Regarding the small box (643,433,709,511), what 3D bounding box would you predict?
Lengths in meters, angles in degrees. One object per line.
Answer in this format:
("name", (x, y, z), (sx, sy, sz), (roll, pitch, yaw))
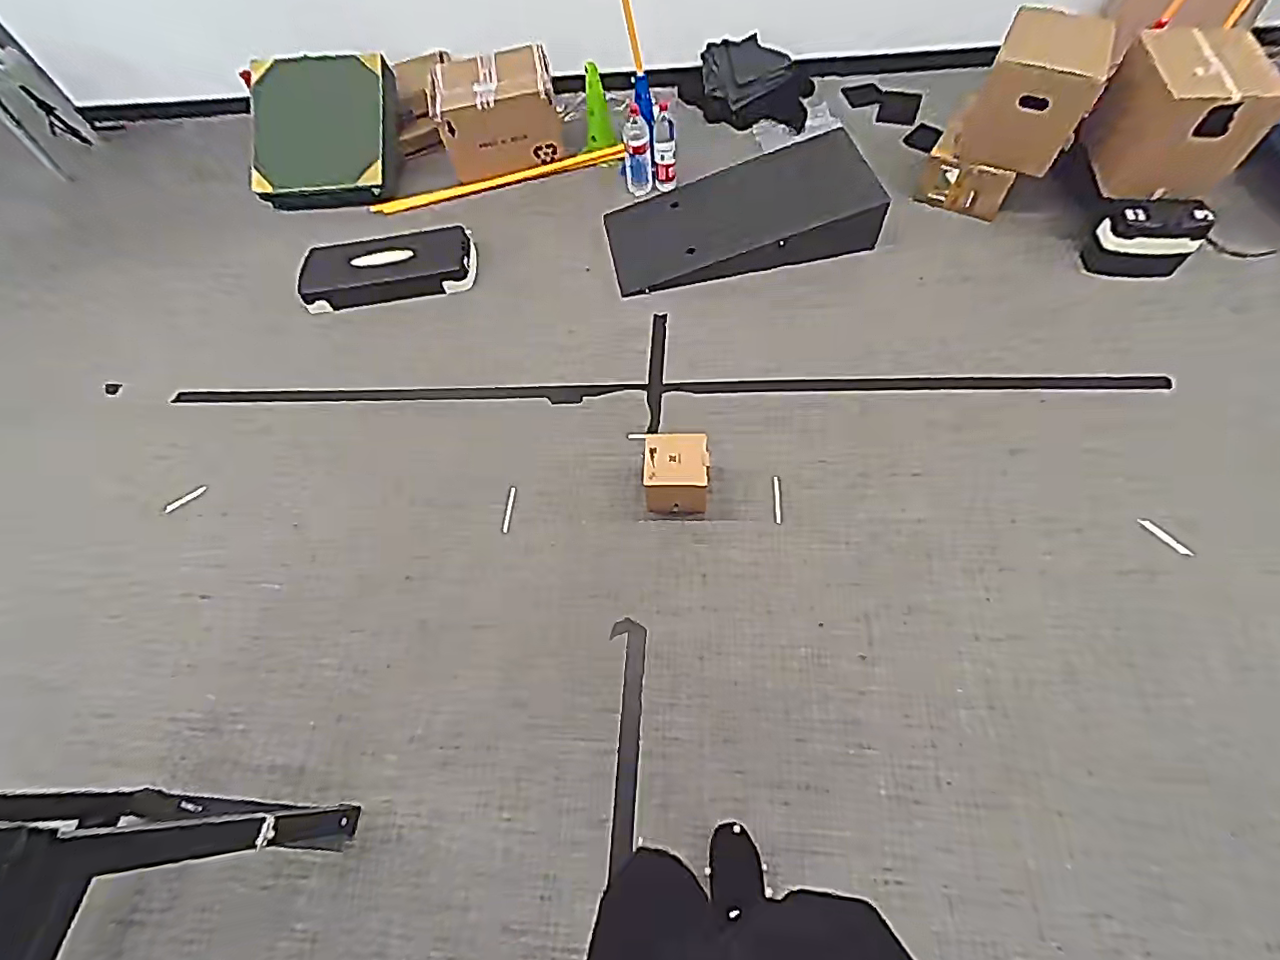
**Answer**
("small box", (0.104, -0.019, 1.543), (0.179, 0.176, 0.168), (1, 62, 5))
